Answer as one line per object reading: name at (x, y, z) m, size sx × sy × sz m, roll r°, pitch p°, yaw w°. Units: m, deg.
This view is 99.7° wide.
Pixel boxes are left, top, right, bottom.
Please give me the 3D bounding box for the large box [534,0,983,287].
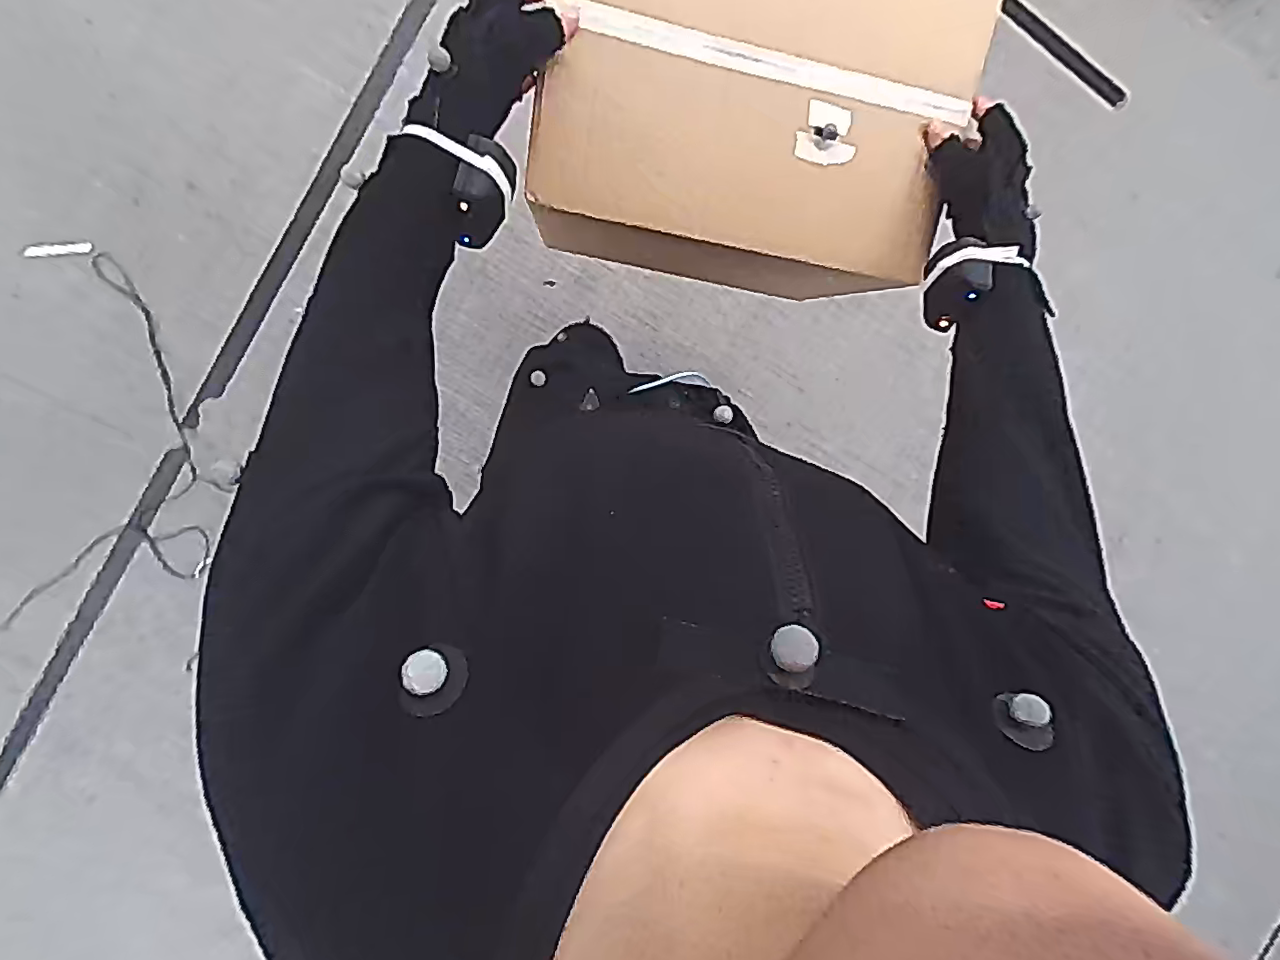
large box at (0.096, -0.431, 0.647) m, size 0.408 × 0.320 × 0.320 m, roll 8°, pitch 107°, yaw -9°
